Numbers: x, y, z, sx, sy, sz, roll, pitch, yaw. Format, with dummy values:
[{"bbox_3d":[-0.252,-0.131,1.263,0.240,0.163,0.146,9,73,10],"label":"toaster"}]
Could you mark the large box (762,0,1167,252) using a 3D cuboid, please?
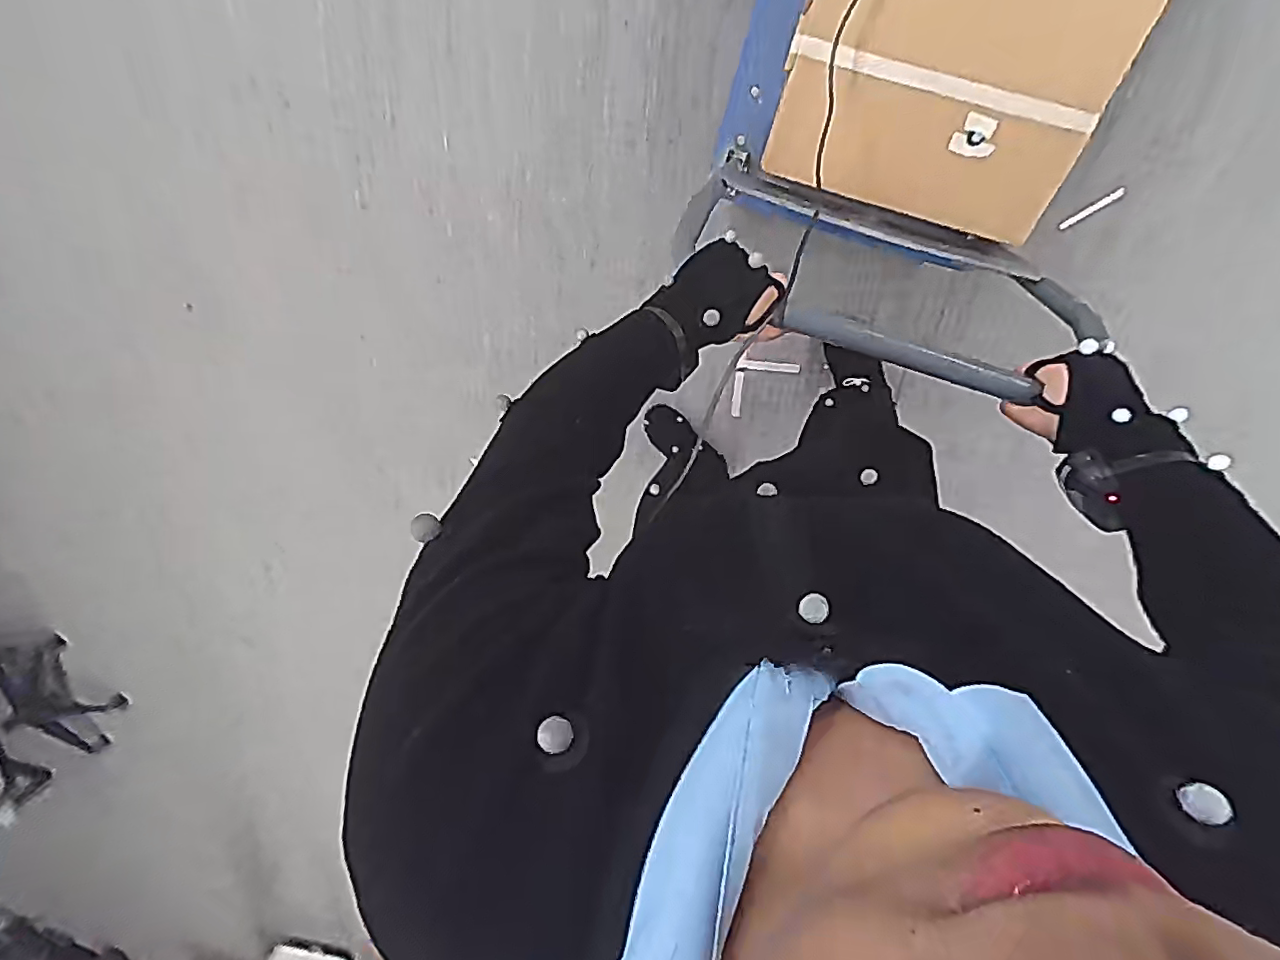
[{"bbox_3d":[0.432,-0.592,0.850,0.408,0.320,0.320,18,124,2],"label":"large box"}]
